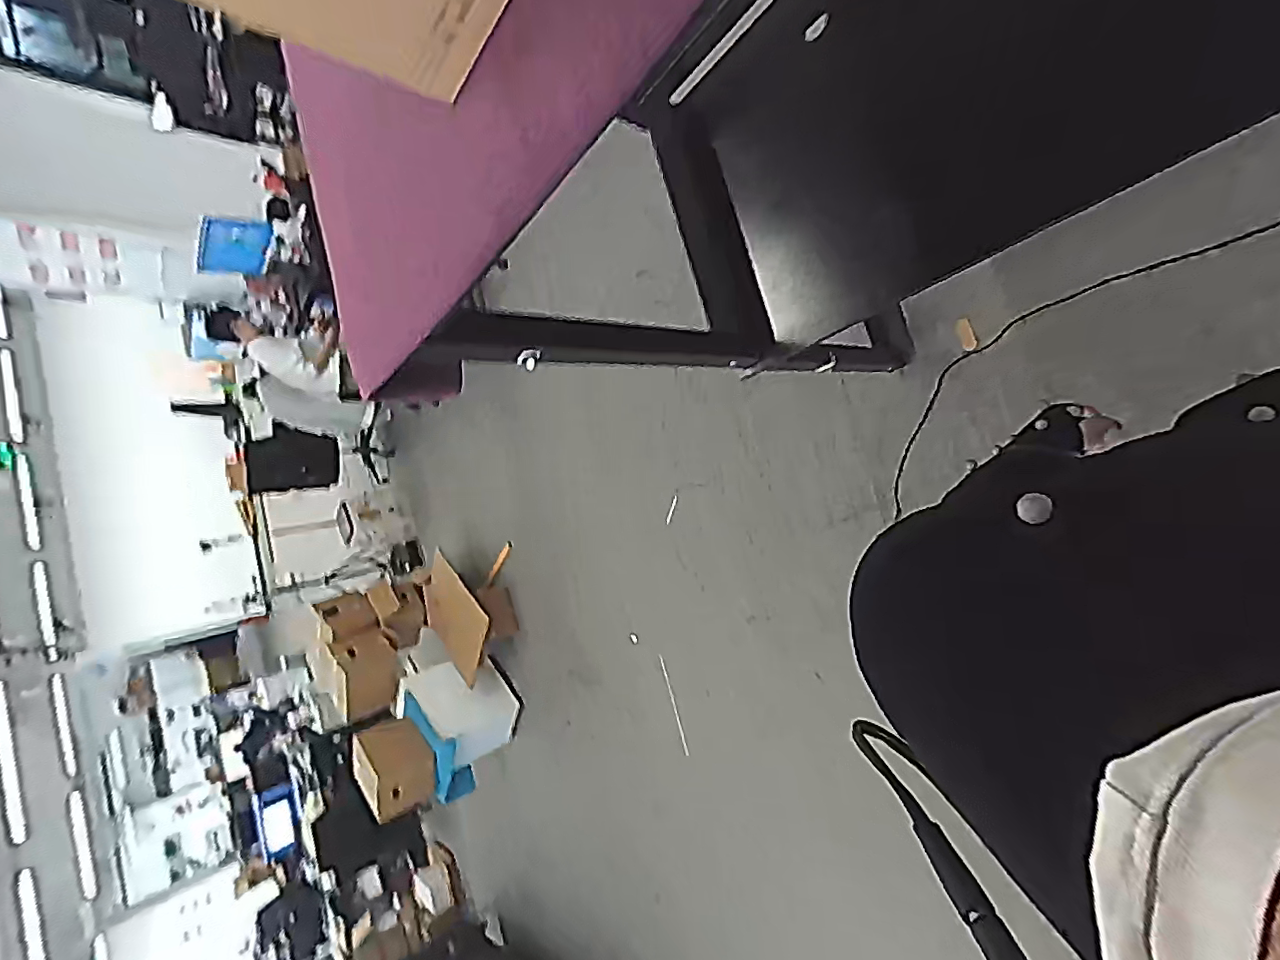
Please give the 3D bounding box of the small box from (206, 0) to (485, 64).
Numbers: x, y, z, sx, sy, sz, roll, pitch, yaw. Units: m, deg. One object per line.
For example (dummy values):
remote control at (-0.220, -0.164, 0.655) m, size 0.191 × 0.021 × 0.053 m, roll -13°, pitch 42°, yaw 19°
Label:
small box at (-0.162, -0.366, 0.279) m, size 0.168 × 0.176 × 0.179 m, roll -19°, pitch 82°, yaw 45°
